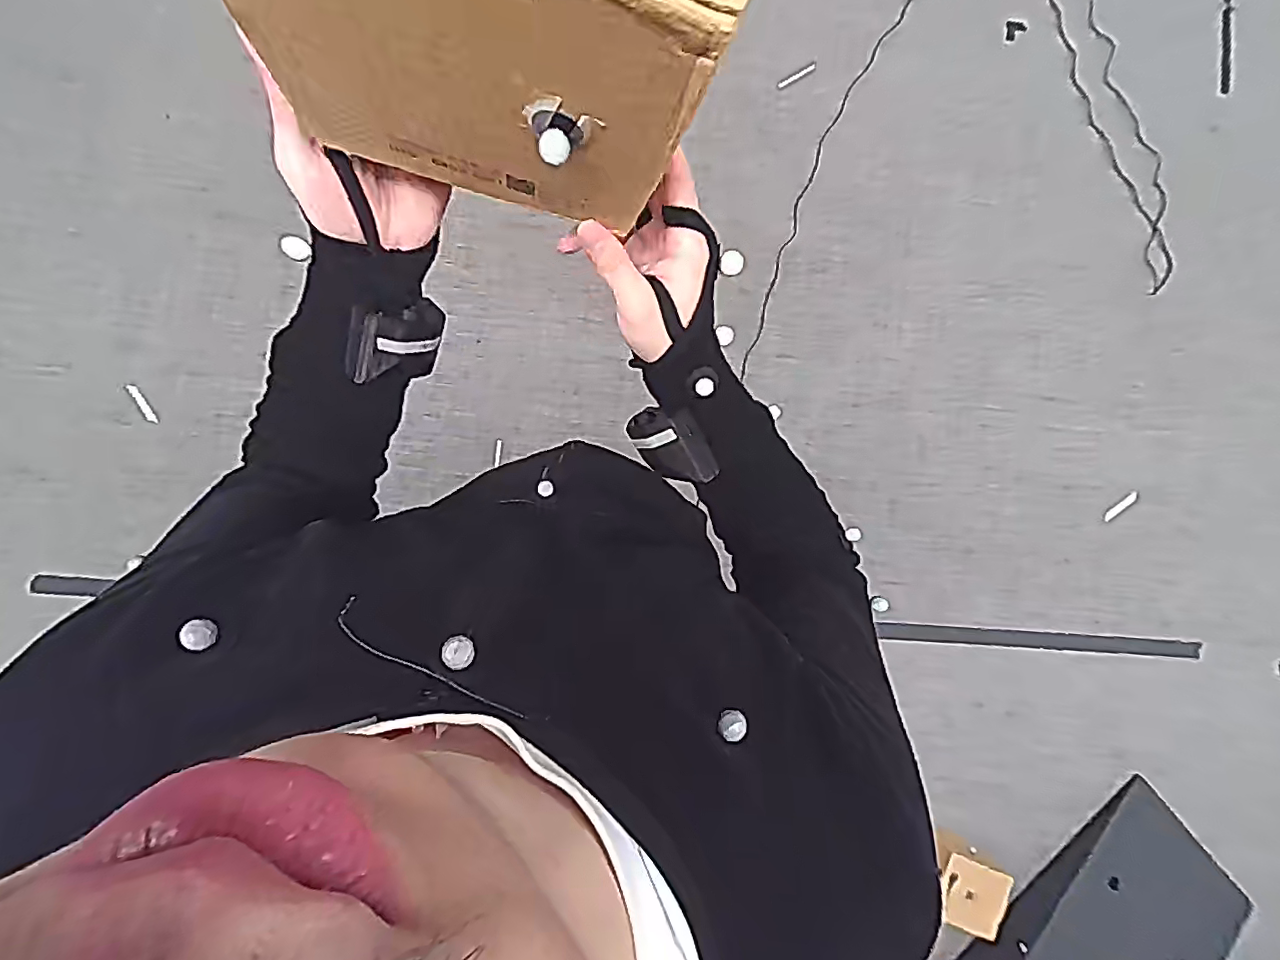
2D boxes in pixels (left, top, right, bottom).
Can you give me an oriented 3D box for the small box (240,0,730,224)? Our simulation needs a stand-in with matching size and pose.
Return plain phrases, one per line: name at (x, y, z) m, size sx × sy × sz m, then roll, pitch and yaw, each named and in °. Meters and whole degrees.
small box at (-0.054, -0.237, 0.221) m, size 0.168 × 0.176 × 0.179 m, roll 10°, pitch 91°, yaw -15°
